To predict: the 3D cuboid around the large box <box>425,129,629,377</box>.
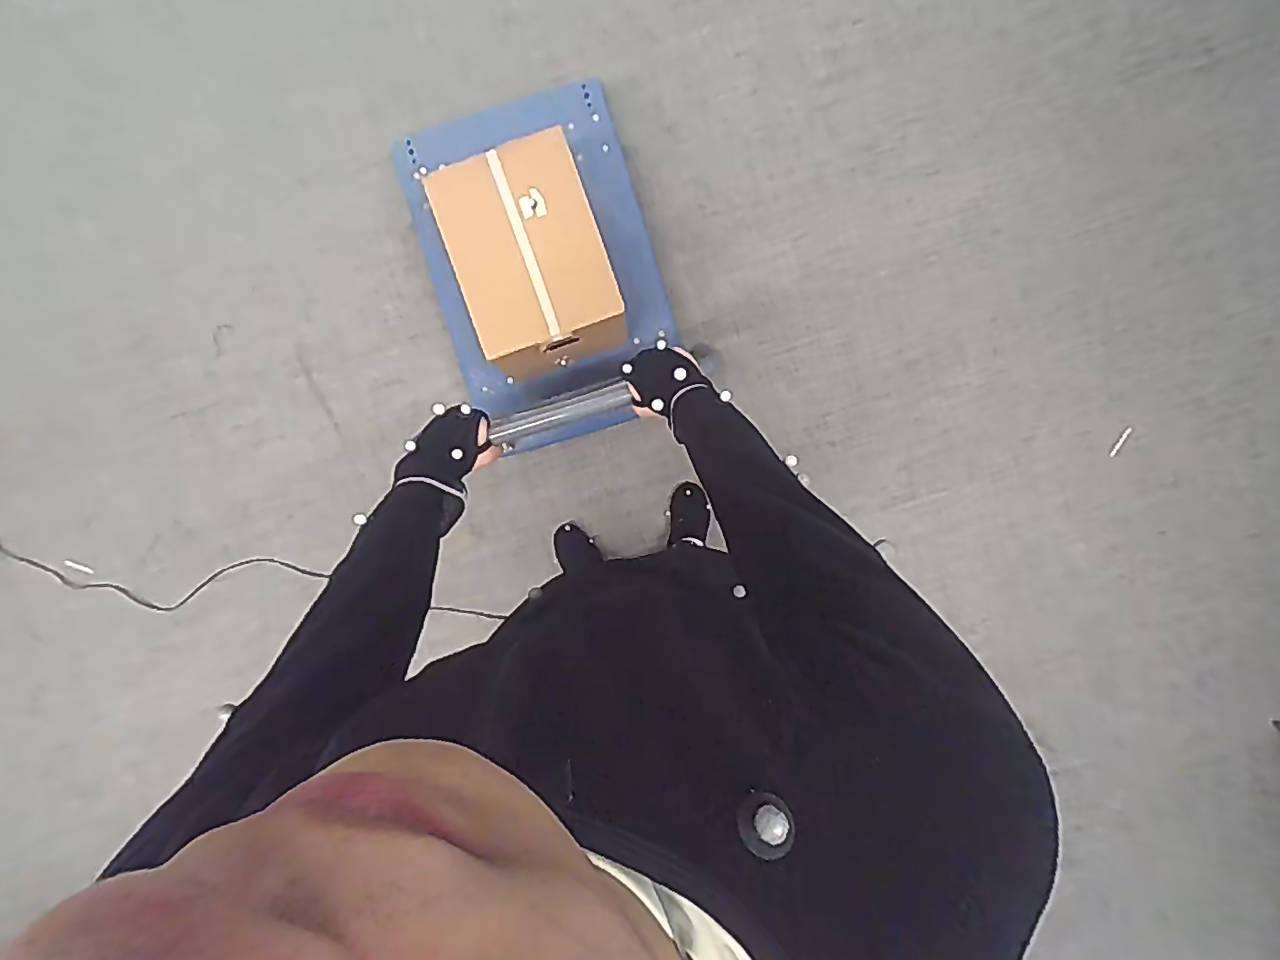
[{"bbox_3d":[-0.238,-0.502,1.283,0.320,0.320,0.408,-19,92,1],"label":"large box"}]
